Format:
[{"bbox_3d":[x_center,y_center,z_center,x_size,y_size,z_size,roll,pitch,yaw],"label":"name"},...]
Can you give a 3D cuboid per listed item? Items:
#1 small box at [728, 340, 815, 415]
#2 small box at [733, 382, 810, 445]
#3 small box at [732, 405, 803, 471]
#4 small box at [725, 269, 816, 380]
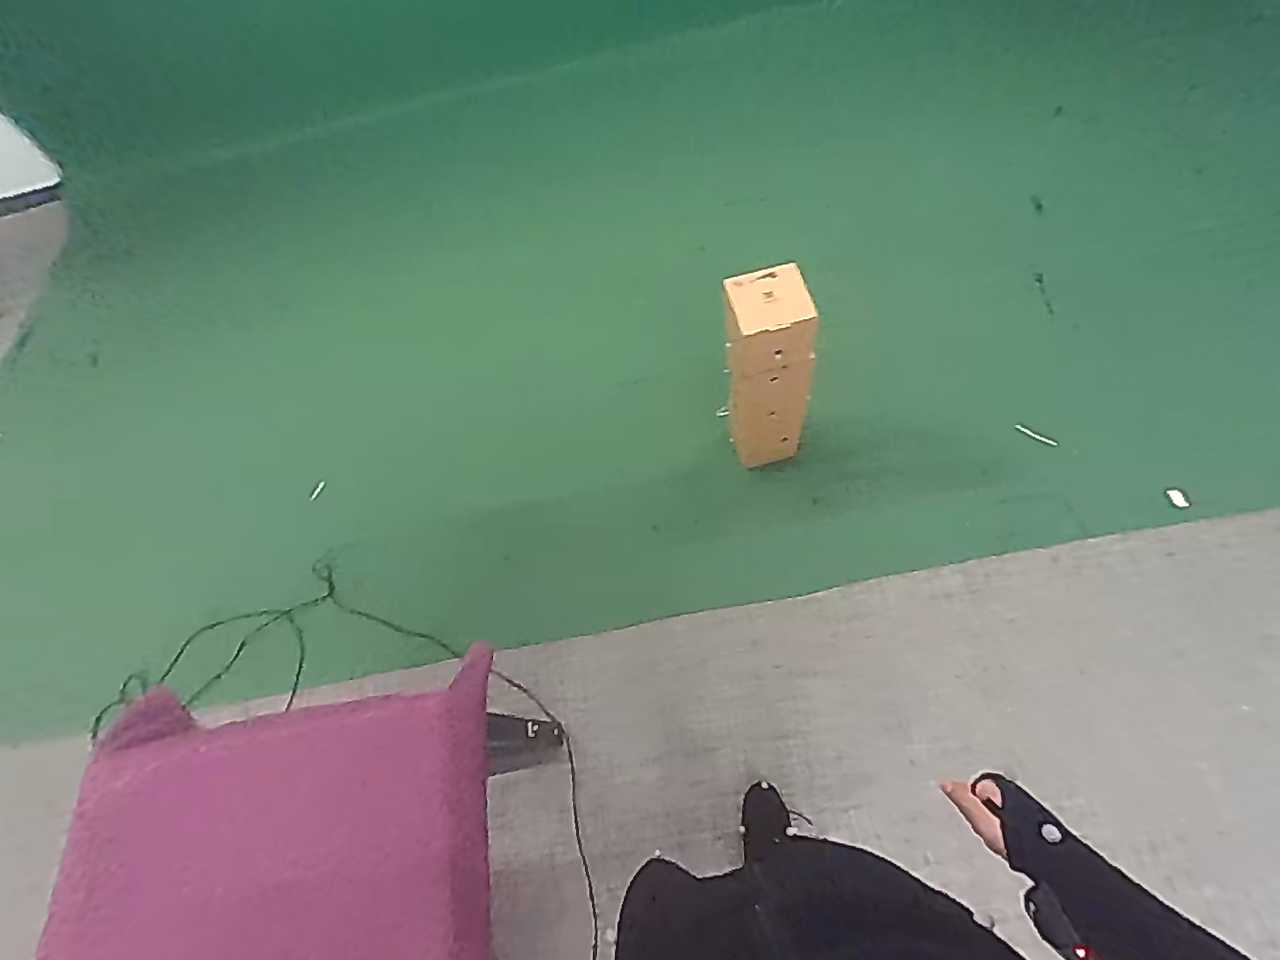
[{"bbox_3d":[0.340,-0.295,1.420,0.179,0.176,0.168,-16,62,1],"label":"small box"},{"bbox_3d":[0.371,-0.223,1.564,0.179,0.176,0.168,-14,62,3],"label":"small box"},{"bbox_3d":[0.395,-0.149,1.706,0.179,0.176,0.168,-15,61,2],"label":"small box"},{"bbox_3d":[0.301,-0.356,1.272,0.168,0.176,0.179,-13,63,4],"label":"small box"}]
